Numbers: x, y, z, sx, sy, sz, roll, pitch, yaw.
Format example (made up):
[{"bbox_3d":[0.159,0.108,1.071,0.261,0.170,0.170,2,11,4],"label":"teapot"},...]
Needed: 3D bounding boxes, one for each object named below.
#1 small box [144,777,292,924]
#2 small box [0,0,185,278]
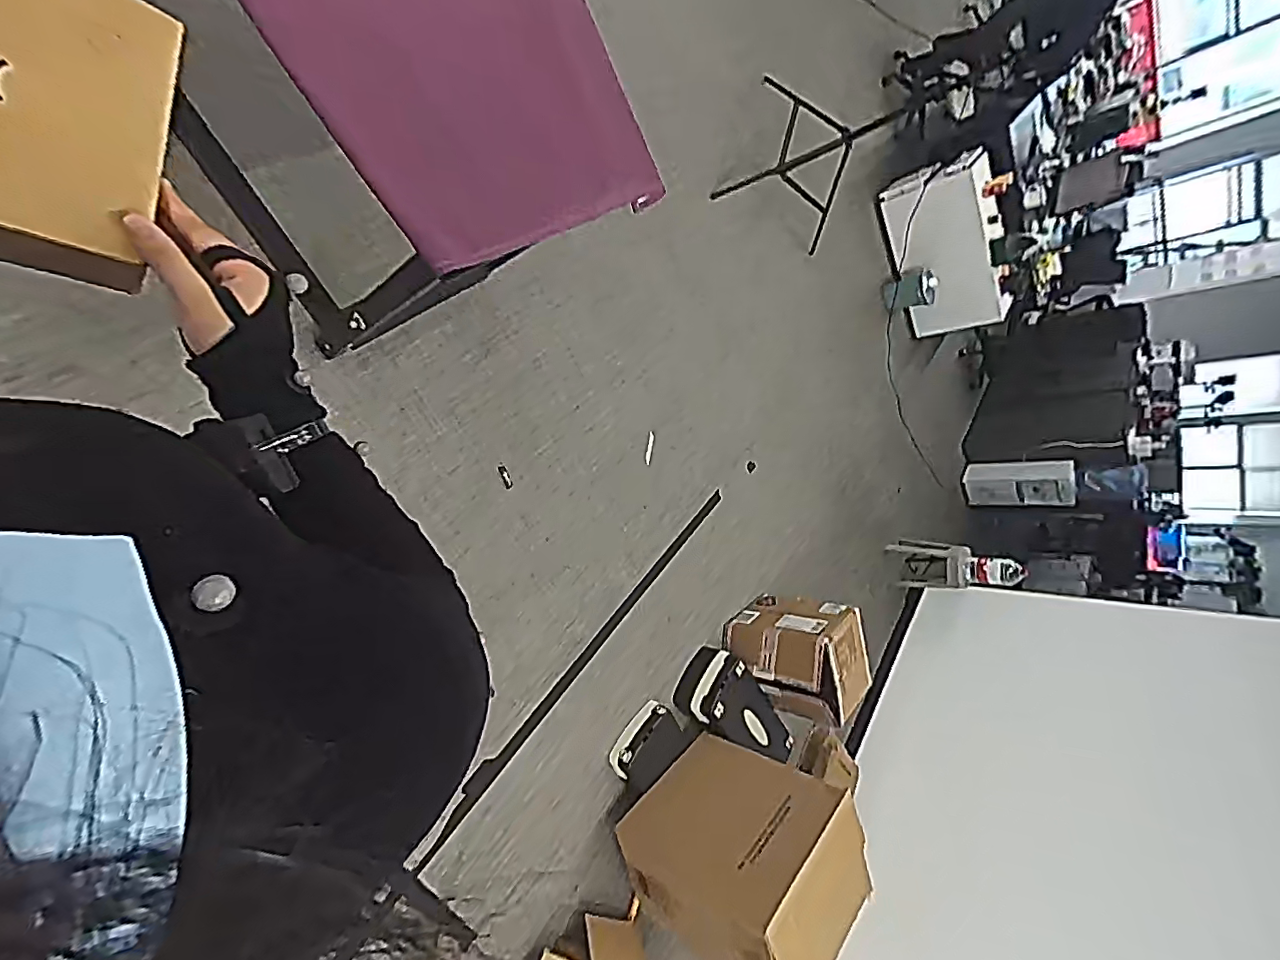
[{"bbox_3d":[-0.867,0.744,1.109,0.168,0.176,0.179,-48,121,-33],"label":"small box"},{"bbox_3d":[-0.433,-0.247,0.360,0.179,0.176,0.168,8,92,-44],"label":"small box"}]
